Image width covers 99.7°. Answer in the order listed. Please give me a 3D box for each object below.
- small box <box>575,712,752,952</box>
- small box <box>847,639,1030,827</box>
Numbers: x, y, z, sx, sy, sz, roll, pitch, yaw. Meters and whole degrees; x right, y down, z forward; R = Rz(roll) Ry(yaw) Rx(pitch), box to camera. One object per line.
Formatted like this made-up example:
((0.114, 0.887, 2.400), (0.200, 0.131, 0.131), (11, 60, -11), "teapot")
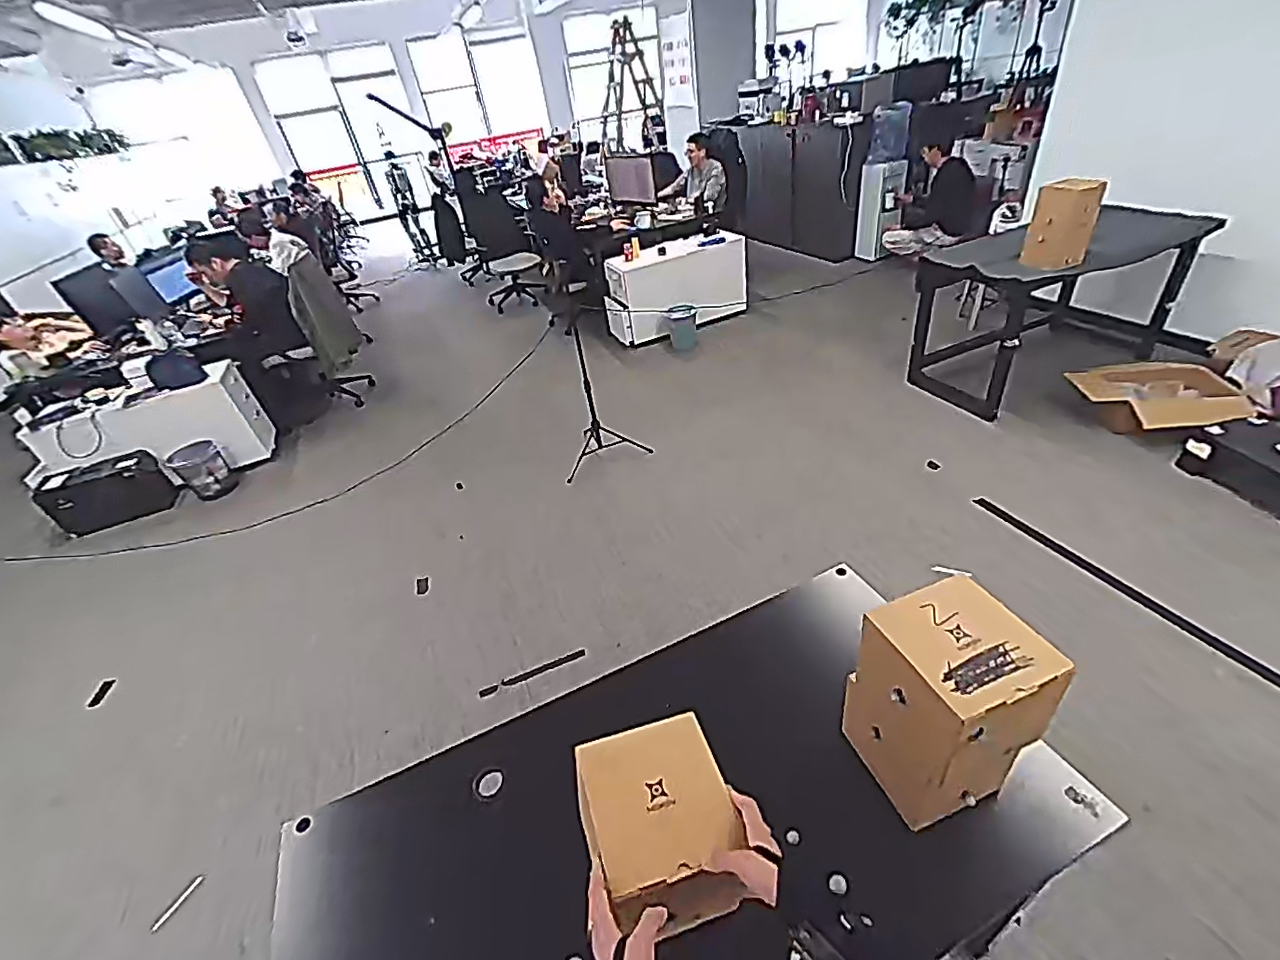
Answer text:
((0.018, 0.434, 0.678), (0.168, 0.176, 0.179), (-11, 36, -16), "small box")
((0.440, 0.386, 0.833), (0.168, 0.176, 0.179), (-19, 37, -10), "small box")
